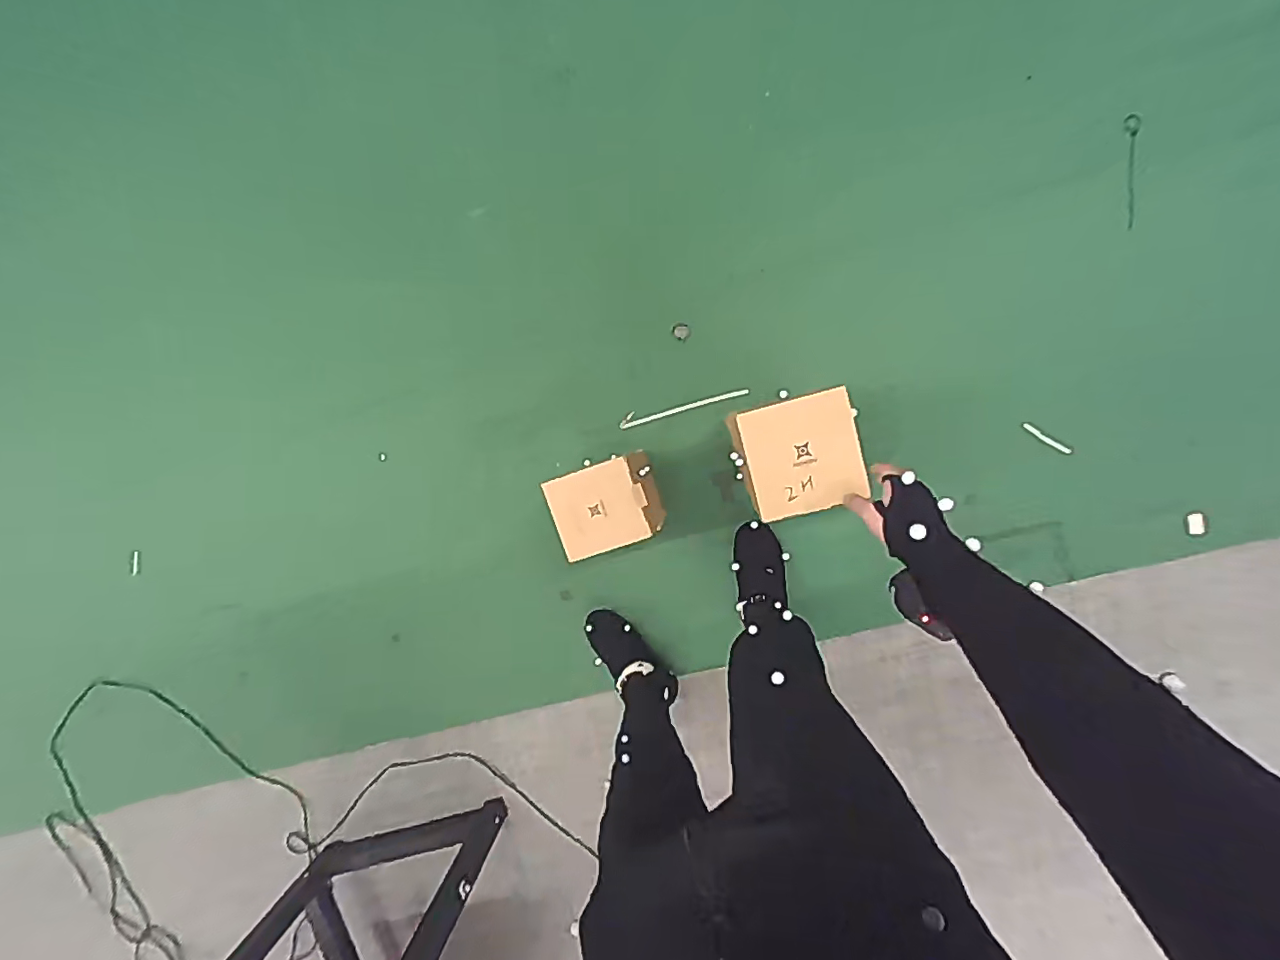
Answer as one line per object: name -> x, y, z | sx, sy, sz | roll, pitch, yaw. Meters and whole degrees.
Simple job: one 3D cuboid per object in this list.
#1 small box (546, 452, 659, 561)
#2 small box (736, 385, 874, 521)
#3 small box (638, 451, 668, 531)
small box -> -0.065, 0.046, 1.104 | 0.179, 0.176, 0.168 | -18, 93, 10
small box -> 0.258, -0.047, 0.881 | 0.168, 0.176, 0.179 | -14, 96, 9
small box -> -0.040, 0.041, 1.265 | 0.168, 0.176, 0.179 | -18, 94, 10
